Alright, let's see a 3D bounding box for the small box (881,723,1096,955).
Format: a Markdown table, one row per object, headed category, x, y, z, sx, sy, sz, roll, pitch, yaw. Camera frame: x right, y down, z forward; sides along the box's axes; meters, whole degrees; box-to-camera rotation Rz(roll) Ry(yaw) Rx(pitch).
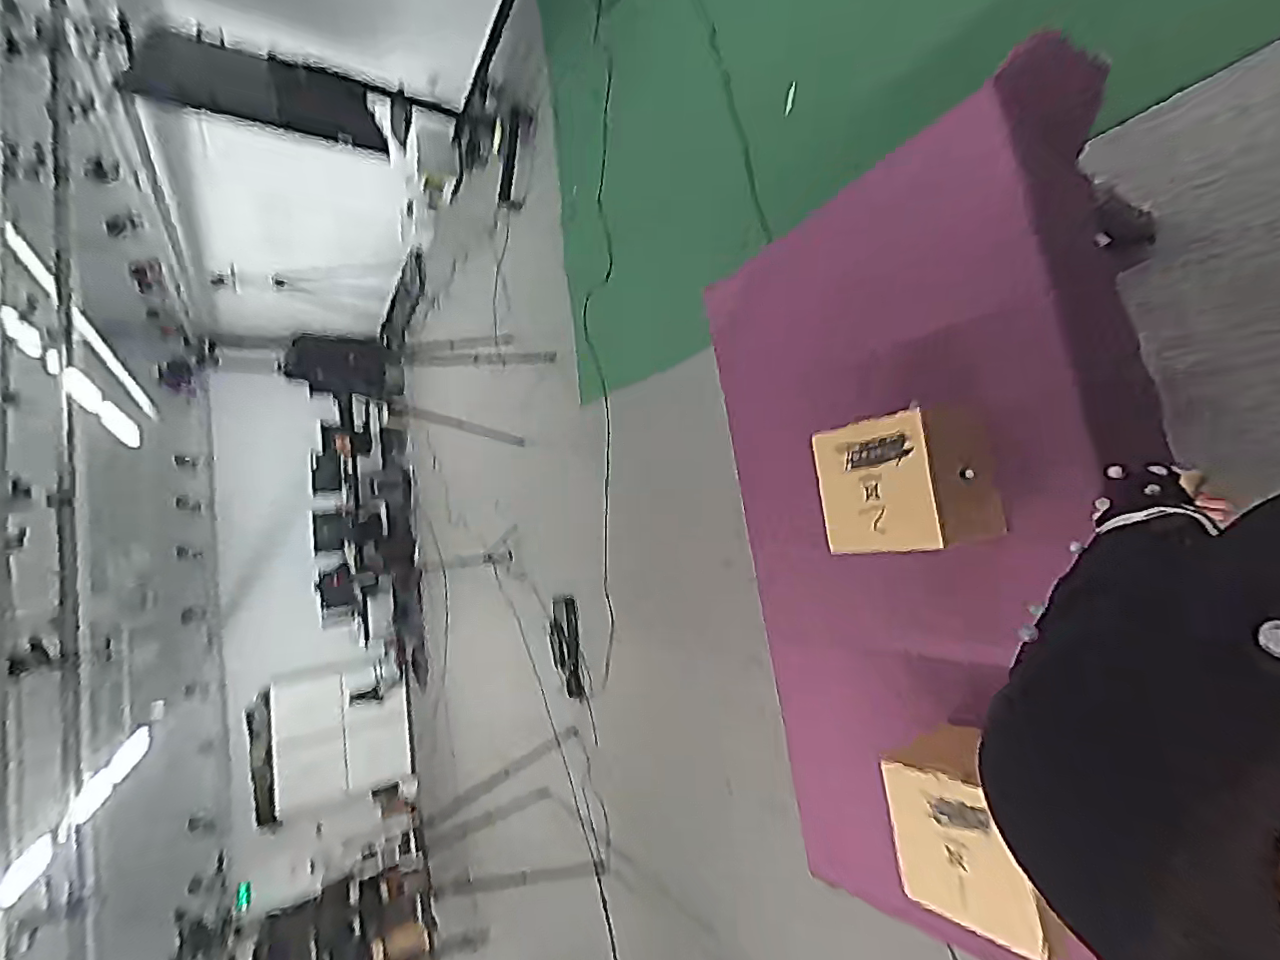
| category | x | y | z | sx | sy | sz | roll | pitch | yaw |
| --- | --- | --- | --- | --- | --- | --- | --- | --- | --- |
| small box | 0.449 | 0.437 | 0.701 | 0.168 | 0.176 | 0.179 | -18 | 78 | 56 |
